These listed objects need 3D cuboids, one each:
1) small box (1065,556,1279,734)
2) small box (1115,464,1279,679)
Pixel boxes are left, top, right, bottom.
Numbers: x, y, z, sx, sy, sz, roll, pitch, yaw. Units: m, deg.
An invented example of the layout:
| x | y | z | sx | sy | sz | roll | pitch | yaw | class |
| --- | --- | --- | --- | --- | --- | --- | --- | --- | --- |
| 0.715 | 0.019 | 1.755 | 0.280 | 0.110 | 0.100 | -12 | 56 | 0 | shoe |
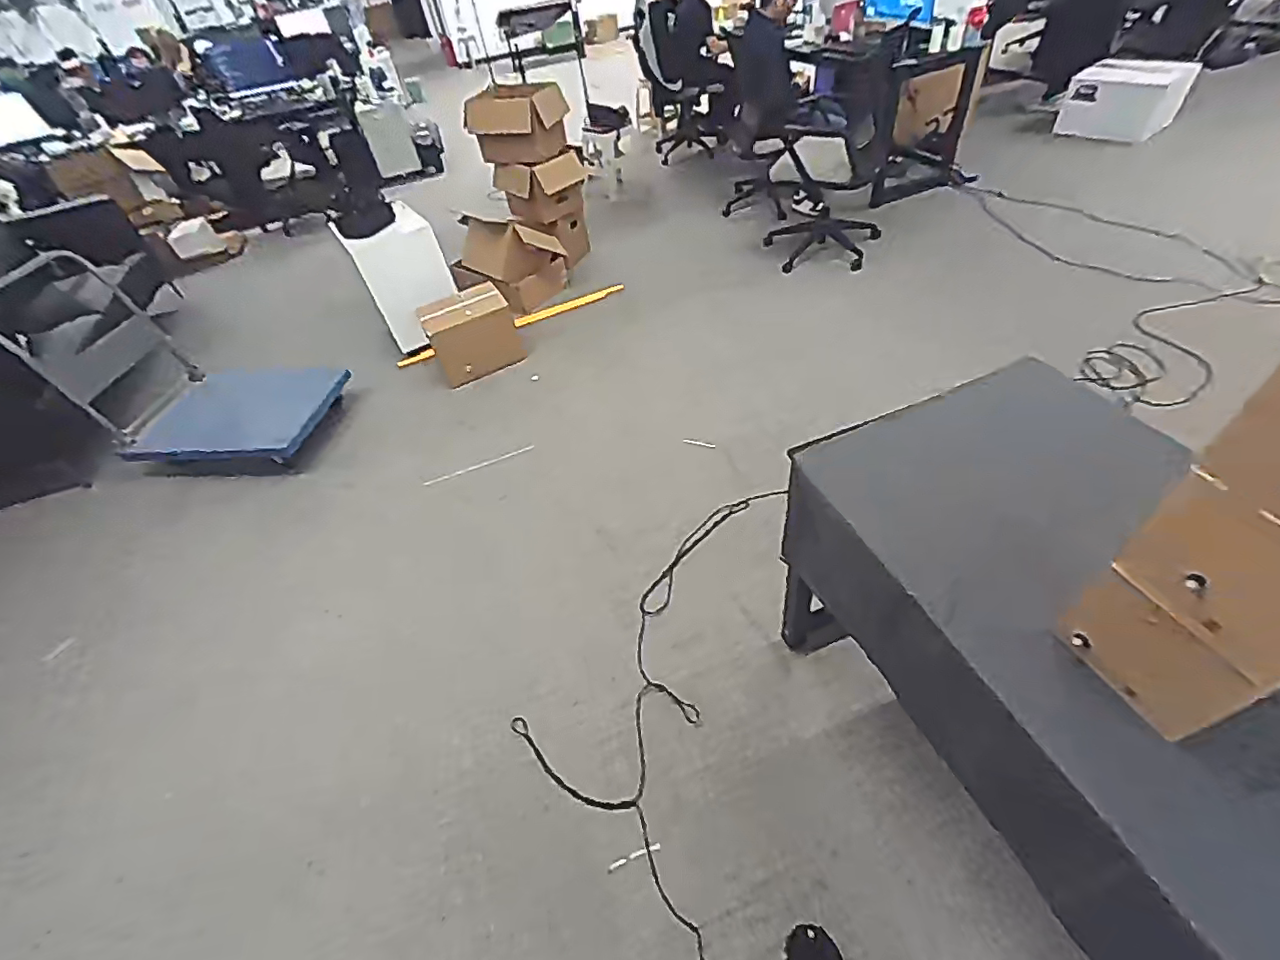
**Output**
| x | y | z | sx | sy | sz | roll | pitch | yaw | class |
| --- | --- | --- | --- | --- | --- | --- | --- | --- | --- |
| 0.672 | 0.179 | 0.661 | 0.179 | 0.176 | 0.168 | -20 | 46 | -9 | small box |
| 0.649 | 0.068 | 0.544 | 0.179 | 0.176 | 0.168 | -20 | 46 | -8 | small box |
